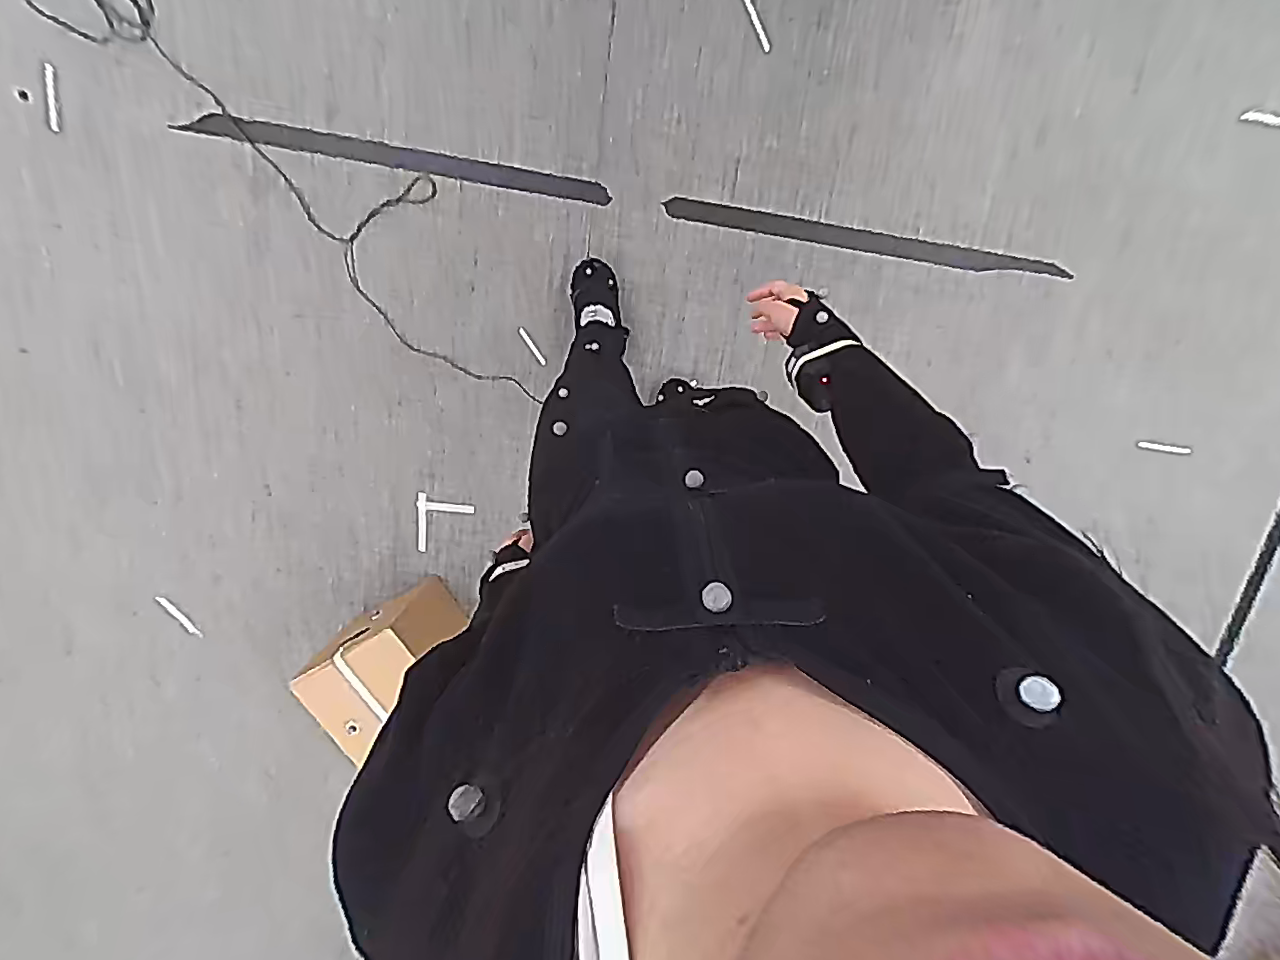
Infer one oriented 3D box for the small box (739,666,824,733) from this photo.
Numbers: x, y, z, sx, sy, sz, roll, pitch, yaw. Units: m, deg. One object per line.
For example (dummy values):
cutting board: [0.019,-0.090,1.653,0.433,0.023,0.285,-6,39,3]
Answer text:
small box: [0.406,0.674,1.550,0.168,0.176,0.179,-32,103,6]
